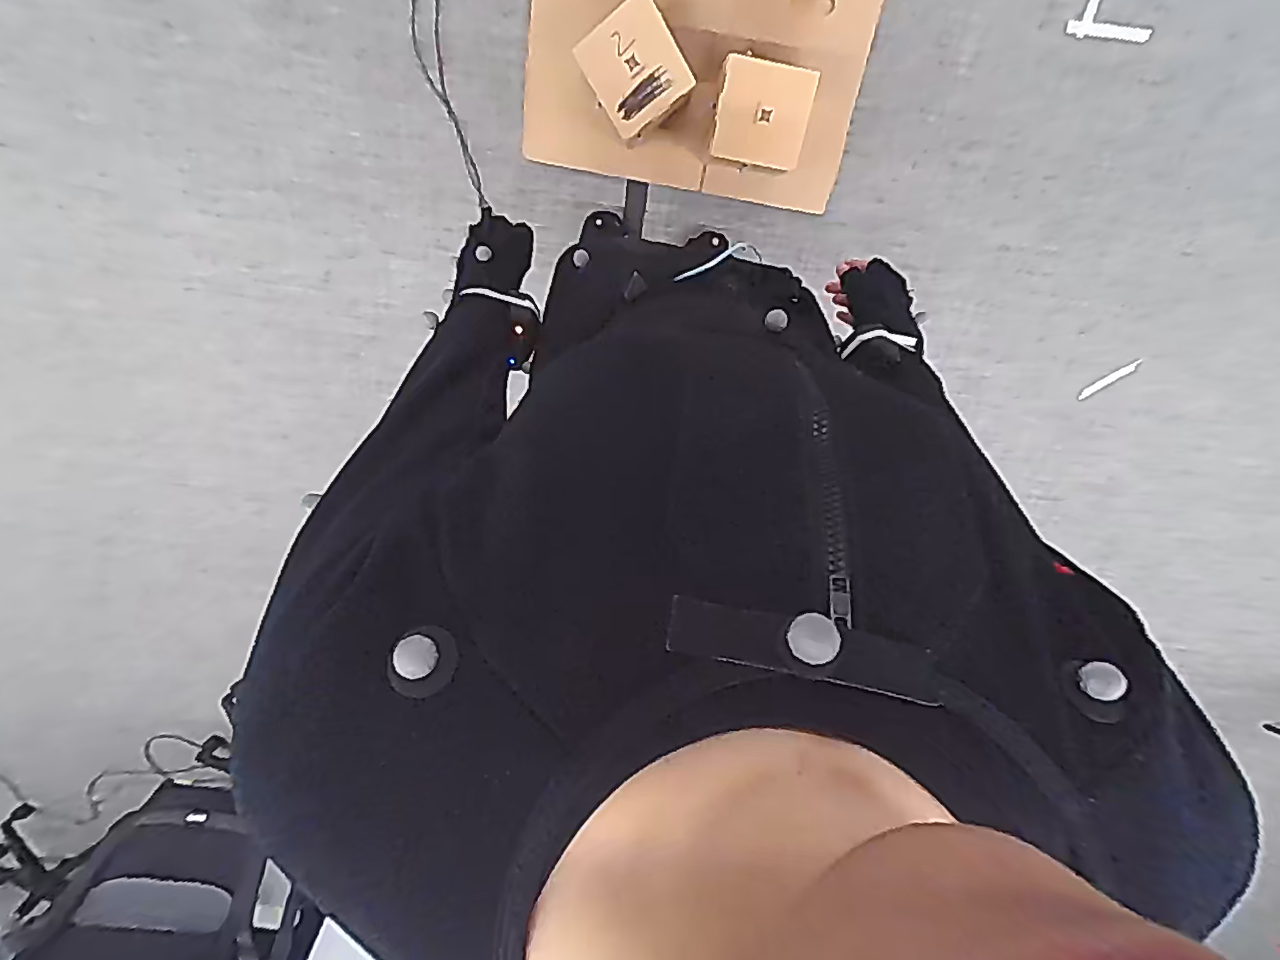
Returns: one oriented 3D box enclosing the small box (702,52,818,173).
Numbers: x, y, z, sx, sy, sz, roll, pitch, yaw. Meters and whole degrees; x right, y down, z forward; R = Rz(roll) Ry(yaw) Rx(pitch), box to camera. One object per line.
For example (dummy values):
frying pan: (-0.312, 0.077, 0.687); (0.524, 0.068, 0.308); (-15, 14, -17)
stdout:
small box: (0.233, -0.735, 1.101); (0.179, 0.176, 0.168); (10, 117, -4)
